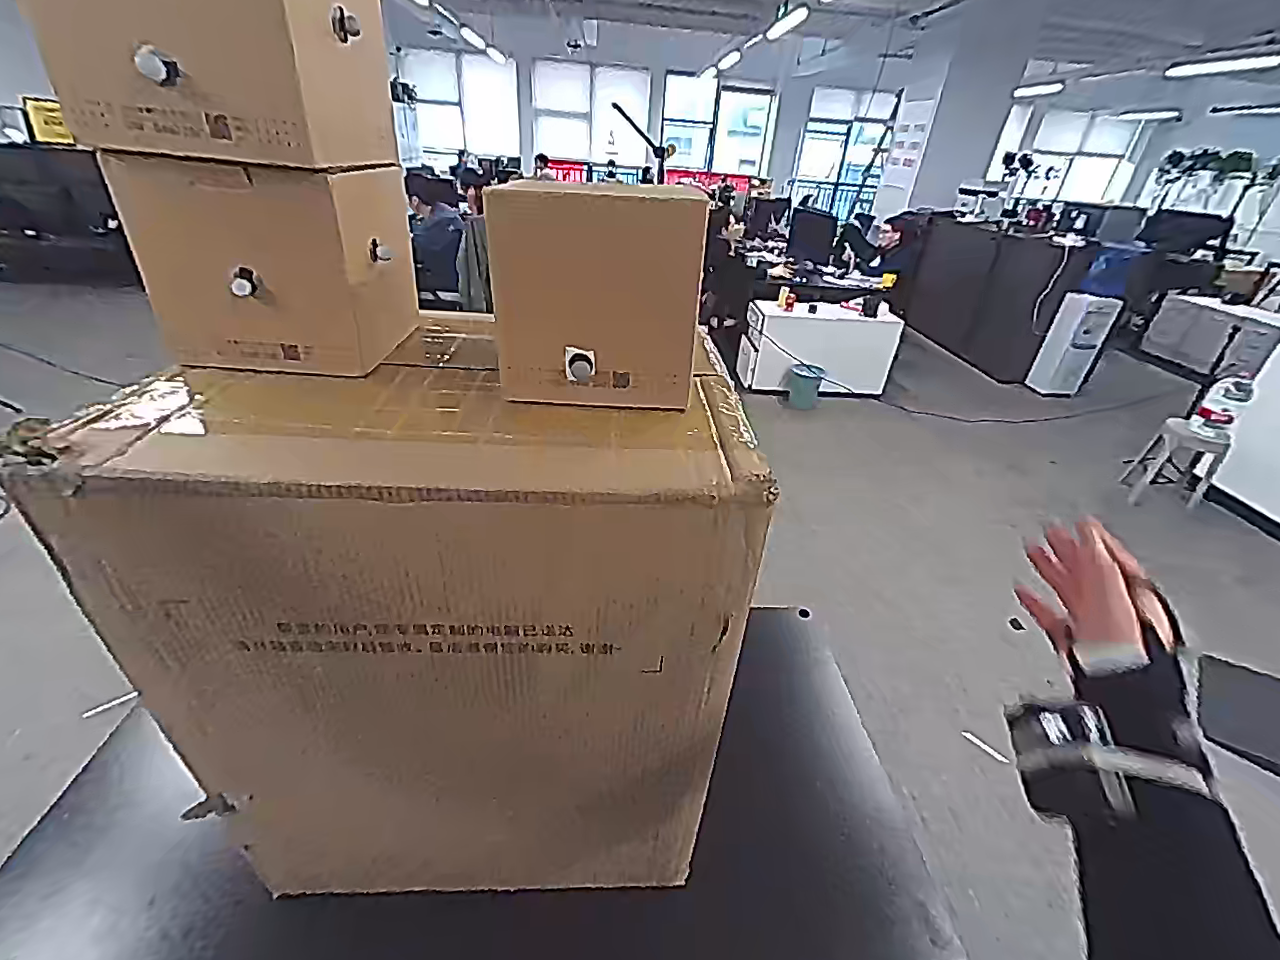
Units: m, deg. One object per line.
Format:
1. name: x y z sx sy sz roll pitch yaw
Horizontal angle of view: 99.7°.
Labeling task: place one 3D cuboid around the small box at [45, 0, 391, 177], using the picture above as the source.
1. small box: -0.309 -0.342 0.419 0.168 0.176 0.179 3 32 -4

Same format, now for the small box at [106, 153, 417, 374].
1. small box: -0.327 -0.210 0.519 0.168 0.176 0.179 3 32 -6

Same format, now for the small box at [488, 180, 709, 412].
1. small box: -0.034 -0.176 0.505 0.168 0.176 0.179 1 32 -2
